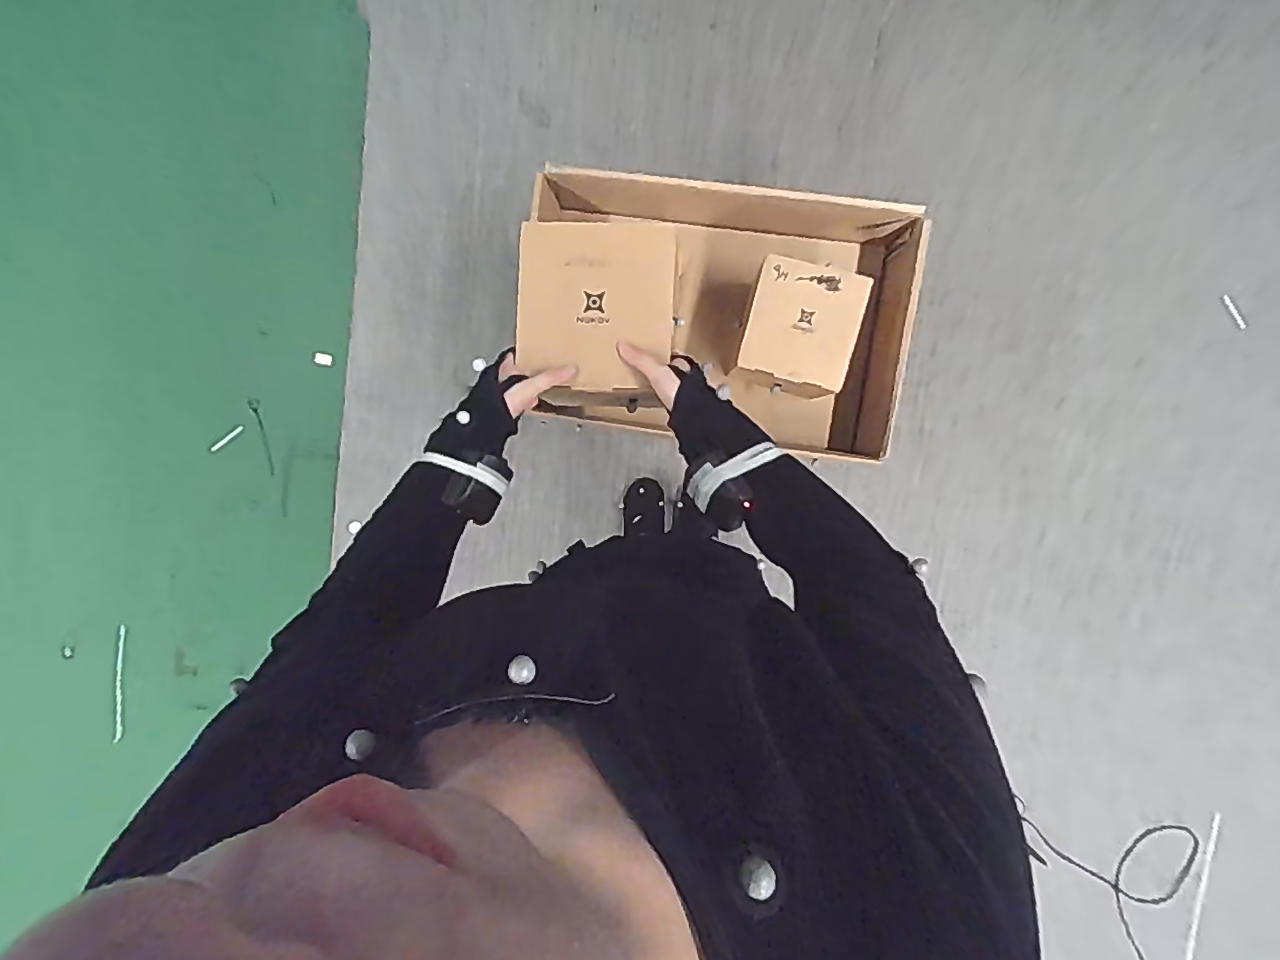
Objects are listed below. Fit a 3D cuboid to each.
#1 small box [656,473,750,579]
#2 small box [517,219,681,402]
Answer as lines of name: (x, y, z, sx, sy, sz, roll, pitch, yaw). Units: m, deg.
small box: (0.155, 0.121, 1.400, 0.179, 0.176, 0.168, -32, 58, -25)
small box: (-0.039, -0.189, 0.649, 0.168, 0.176, 0.179, 4, 93, 5)
